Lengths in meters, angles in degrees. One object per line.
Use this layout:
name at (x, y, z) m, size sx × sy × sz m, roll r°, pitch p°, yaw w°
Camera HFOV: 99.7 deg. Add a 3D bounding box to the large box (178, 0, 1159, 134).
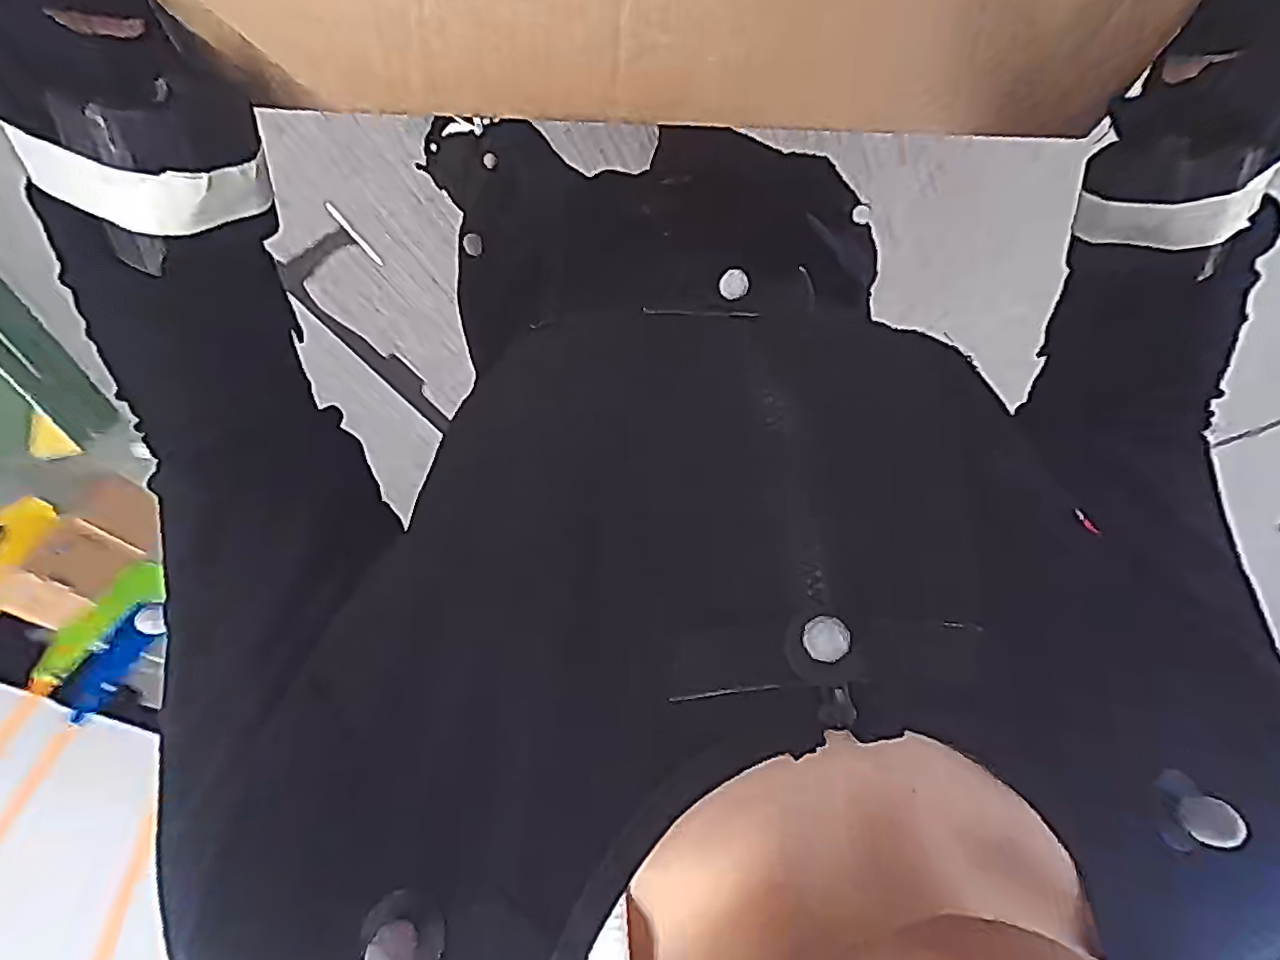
large box at (0.020, -0.367, 0.180) m, size 0.408 × 0.320 × 0.320 m, roll -4°, pitch 156°, yaw -6°
